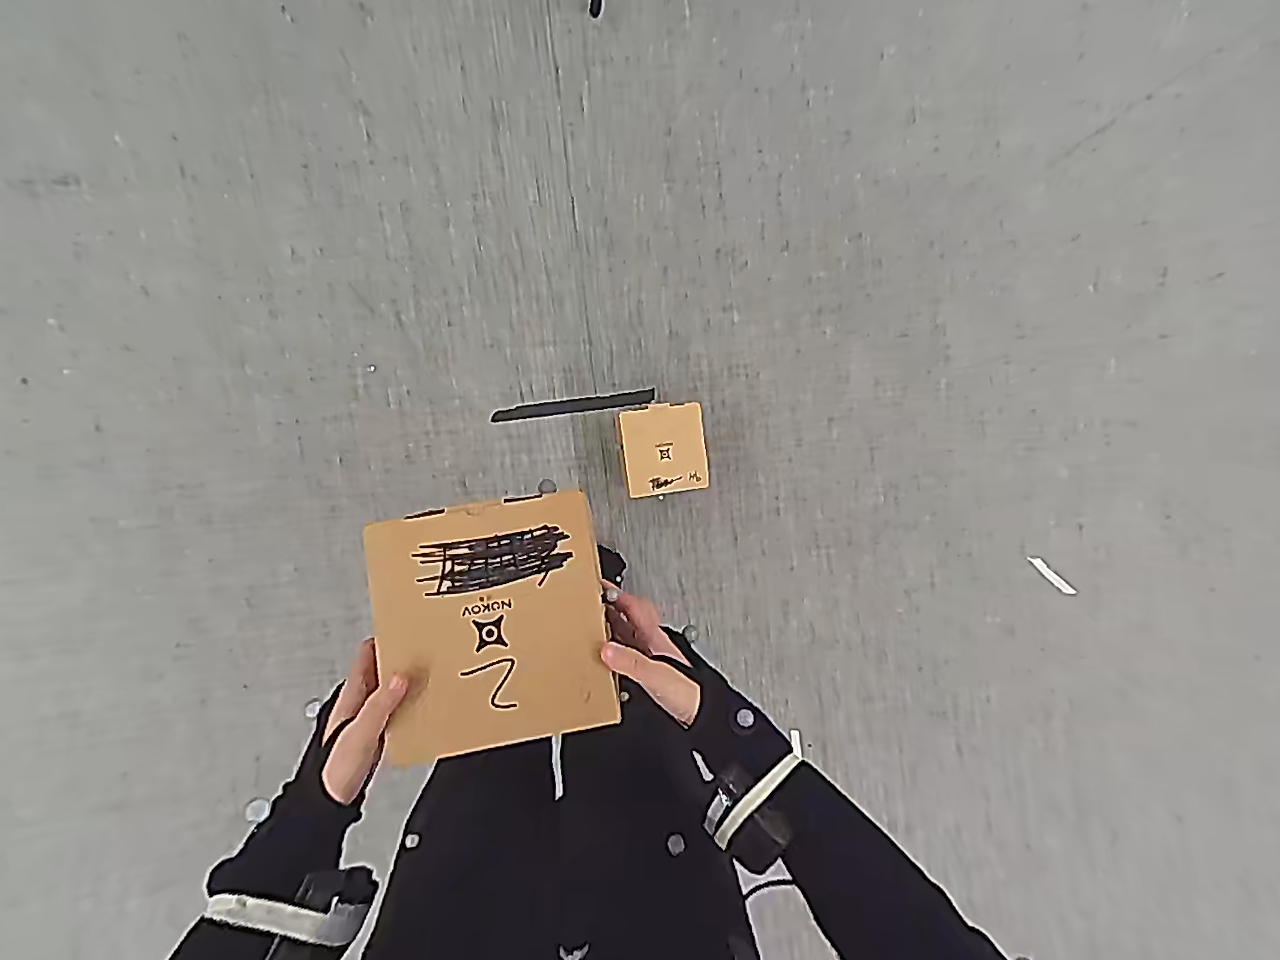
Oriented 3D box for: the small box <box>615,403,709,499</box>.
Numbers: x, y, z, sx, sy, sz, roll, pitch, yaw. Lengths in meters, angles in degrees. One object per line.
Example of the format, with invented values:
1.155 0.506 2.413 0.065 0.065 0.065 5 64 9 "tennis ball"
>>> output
0.041 -0.062 1.153 0.168 0.176 0.179 -8 95 -5 "small box"
